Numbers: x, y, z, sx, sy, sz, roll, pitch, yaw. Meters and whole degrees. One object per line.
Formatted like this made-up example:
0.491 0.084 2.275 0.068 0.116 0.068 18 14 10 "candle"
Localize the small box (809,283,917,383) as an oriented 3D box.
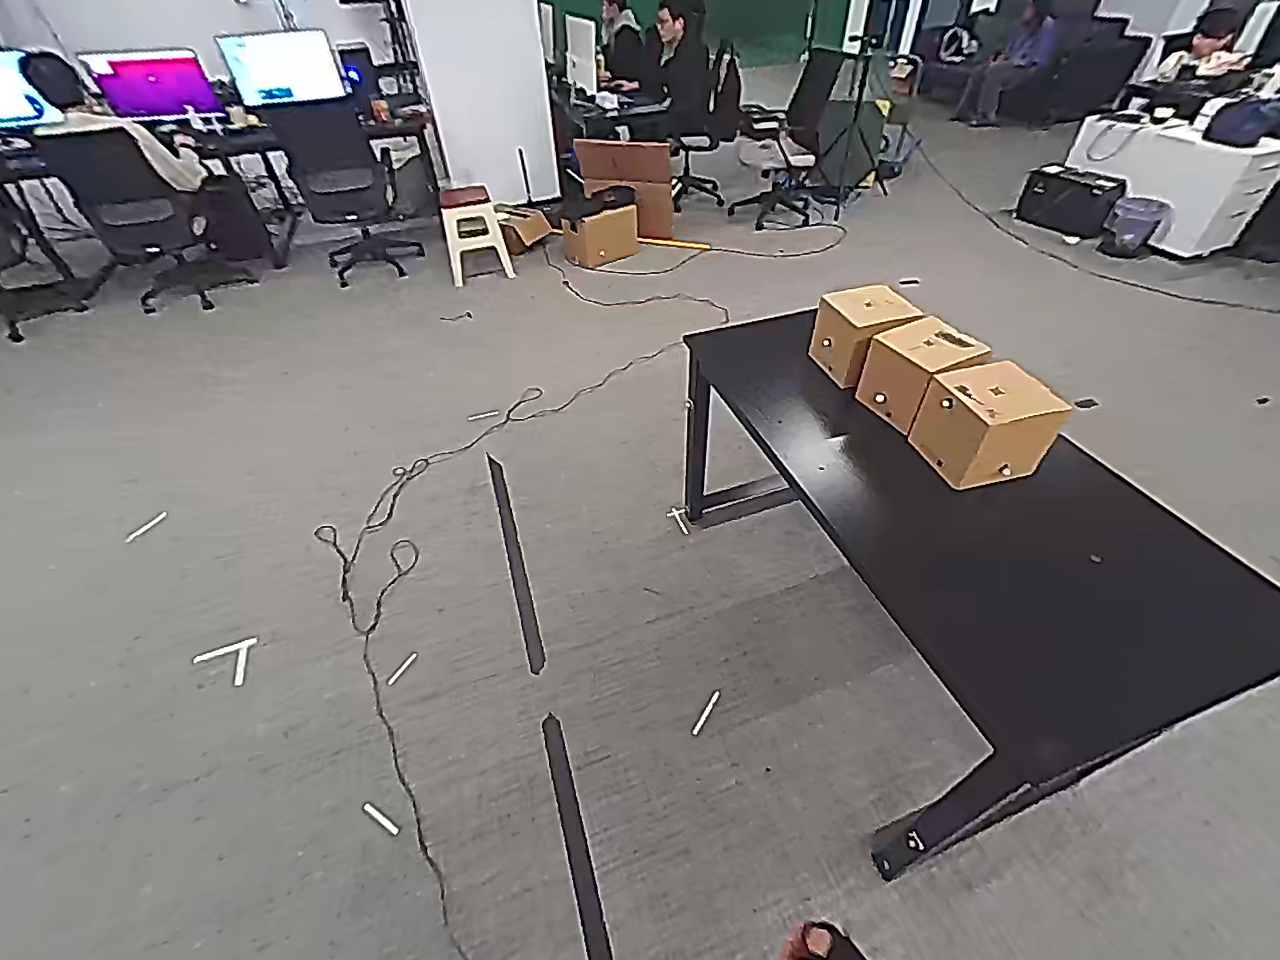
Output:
0.533 -0.356 1.326 0.179 0.176 0.168 -14 46 -10 "small box"
